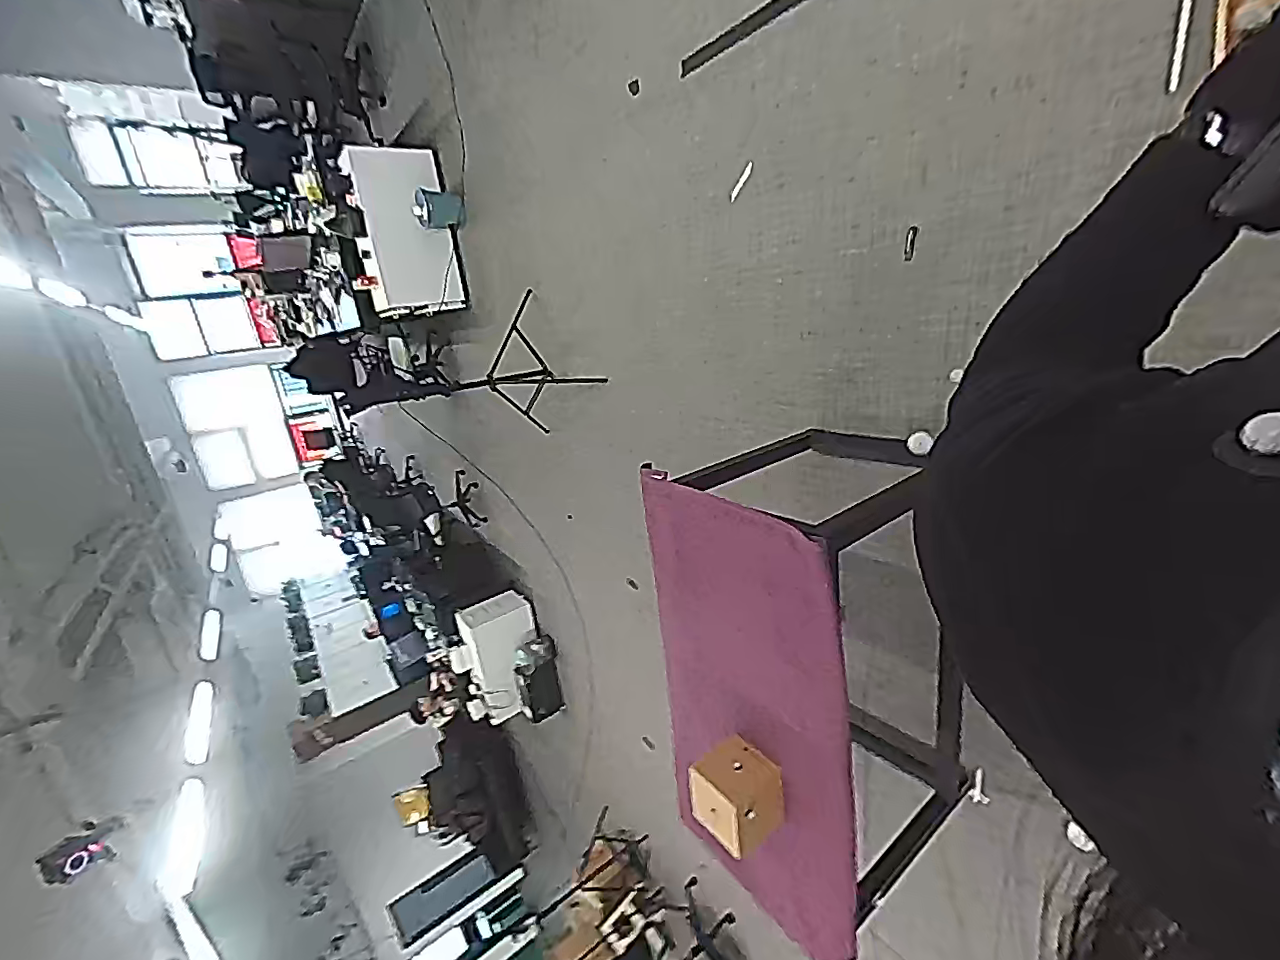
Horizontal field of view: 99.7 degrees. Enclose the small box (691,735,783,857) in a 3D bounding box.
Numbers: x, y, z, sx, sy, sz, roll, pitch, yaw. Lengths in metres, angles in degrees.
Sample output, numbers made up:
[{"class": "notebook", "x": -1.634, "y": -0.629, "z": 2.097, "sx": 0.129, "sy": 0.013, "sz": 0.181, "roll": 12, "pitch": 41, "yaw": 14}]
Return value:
[{"class": "small box", "x": 0.253, "y": 0.801, "z": 1.394, "sx": 0.168, "sy": 0.176, "sz": 0.179, "roll": 19, "pitch": 121, "yaw": 53}]
